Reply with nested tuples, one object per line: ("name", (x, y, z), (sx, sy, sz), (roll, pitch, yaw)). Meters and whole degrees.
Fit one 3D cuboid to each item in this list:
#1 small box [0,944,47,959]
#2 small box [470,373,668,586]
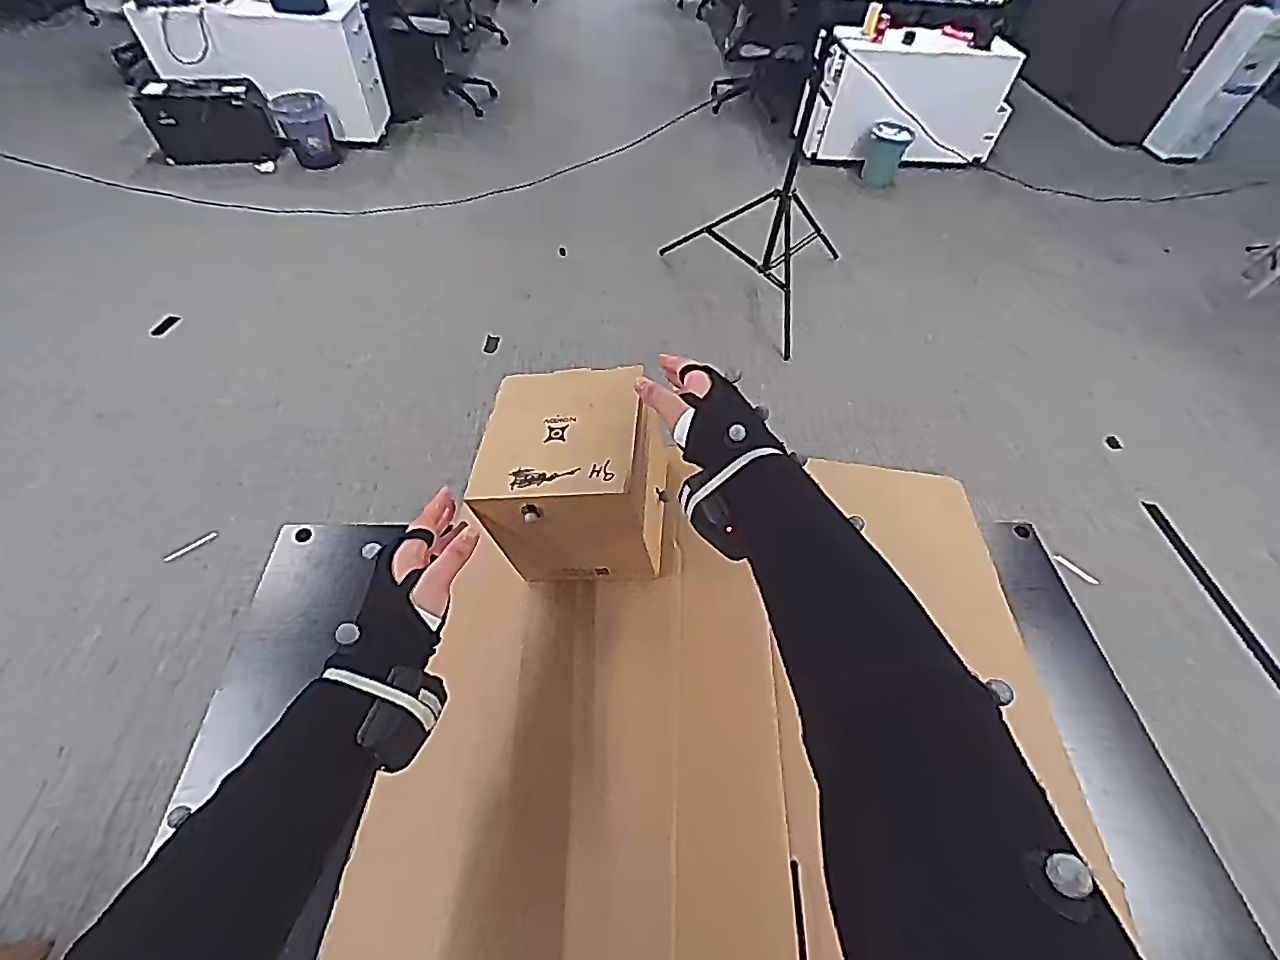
("small box", (-1.219, 0.934, 0.944), (0.168, 0.176, 0.179), (-3, 53, -6))
("small box", (-0.063, 0.003, 0.618), (0.168, 0.176, 0.179), (-3, 50, 12))
